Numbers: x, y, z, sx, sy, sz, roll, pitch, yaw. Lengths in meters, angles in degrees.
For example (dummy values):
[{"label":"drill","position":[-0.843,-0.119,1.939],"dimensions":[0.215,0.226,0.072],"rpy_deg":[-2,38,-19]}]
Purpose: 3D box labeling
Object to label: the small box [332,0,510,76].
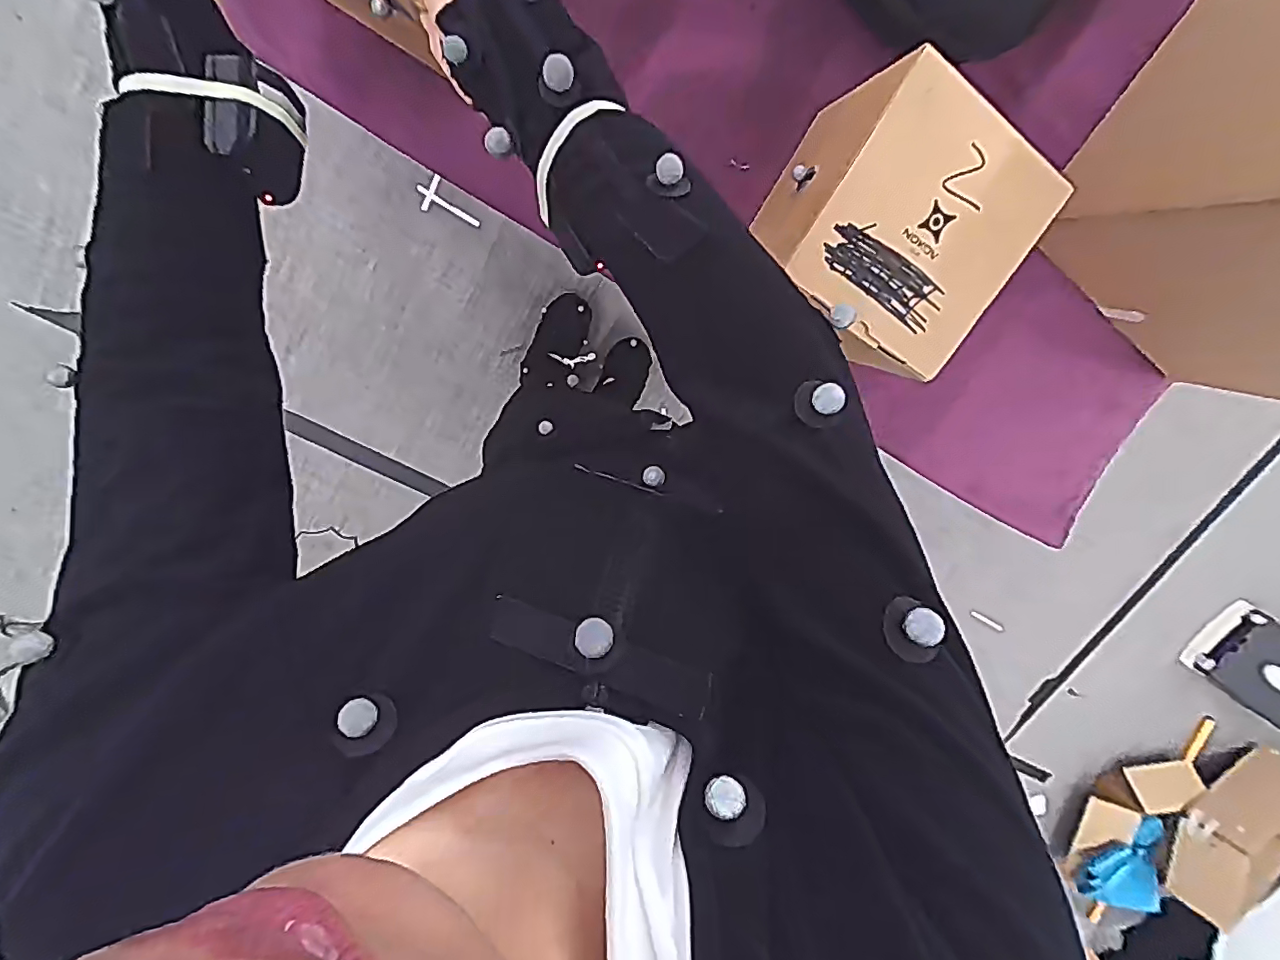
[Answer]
[{"label":"small box","position":[-0.171,-0.417,0.357],"dimensions":[0.179,0.176,0.168],"rpy_deg":[25,105,-17]}]
